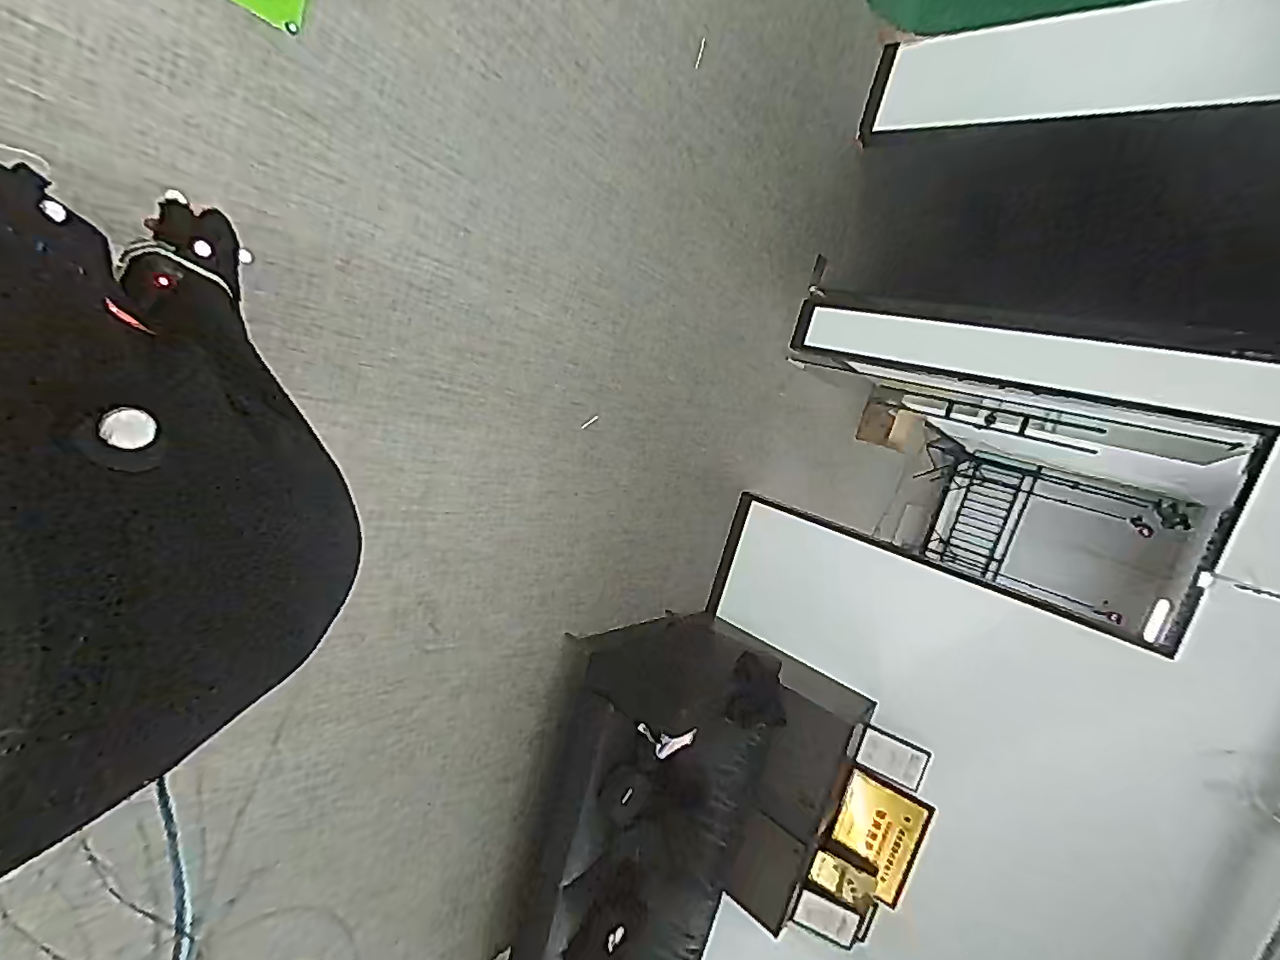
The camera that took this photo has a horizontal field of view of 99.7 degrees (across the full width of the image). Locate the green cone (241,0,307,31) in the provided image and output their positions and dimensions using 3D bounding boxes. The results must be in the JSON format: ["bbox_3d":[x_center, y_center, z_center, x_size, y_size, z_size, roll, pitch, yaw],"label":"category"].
[{"bbox_3d":[-0.625,-0.979,0.938,0.202,0.368,0.200,3,106,-50],"label":"green cone"}]
